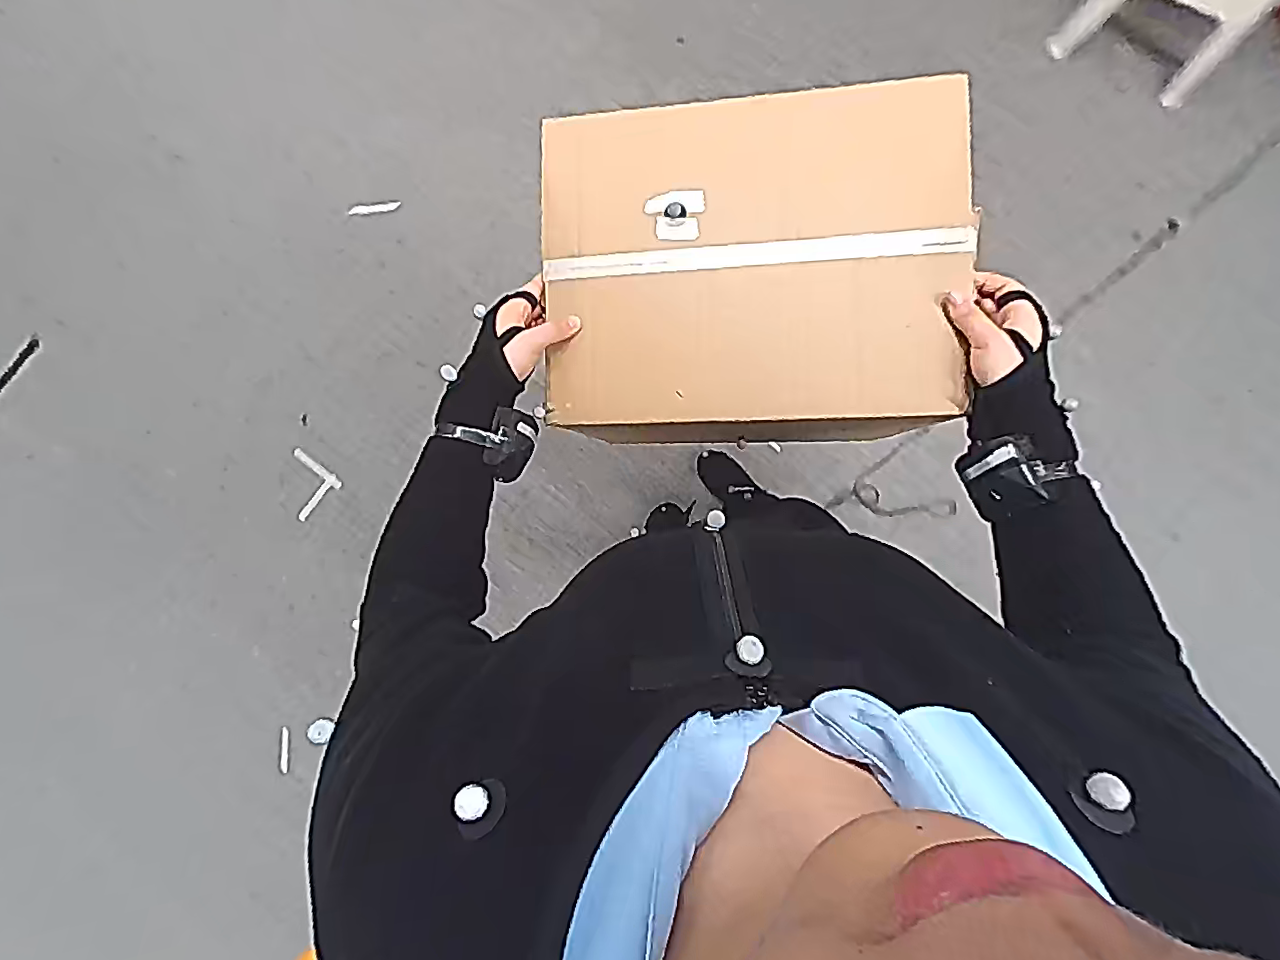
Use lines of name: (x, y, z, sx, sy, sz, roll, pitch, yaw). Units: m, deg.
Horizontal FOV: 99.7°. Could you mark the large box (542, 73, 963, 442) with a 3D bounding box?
large box: (0.125, -0.219, 0.679, 0.408, 0.320, 0.320, -2, 89, 10)
